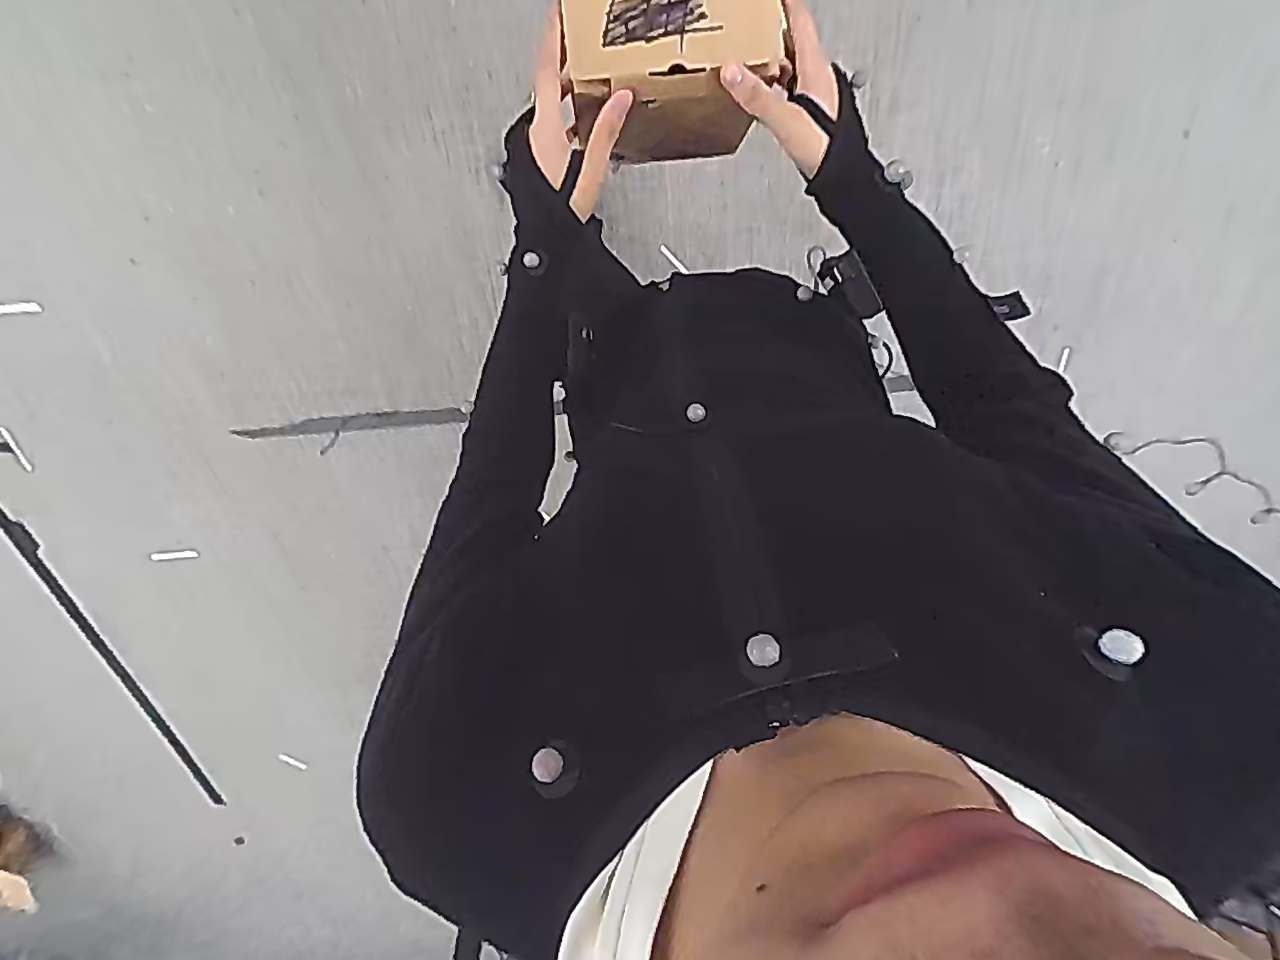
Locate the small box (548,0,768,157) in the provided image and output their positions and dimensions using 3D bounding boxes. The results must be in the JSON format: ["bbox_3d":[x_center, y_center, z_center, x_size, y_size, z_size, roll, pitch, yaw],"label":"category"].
[{"bbox_3d":[0.008,-0.406,0.475,0.168,0.176,0.179,-6,101,-2],"label":"small box"}]
